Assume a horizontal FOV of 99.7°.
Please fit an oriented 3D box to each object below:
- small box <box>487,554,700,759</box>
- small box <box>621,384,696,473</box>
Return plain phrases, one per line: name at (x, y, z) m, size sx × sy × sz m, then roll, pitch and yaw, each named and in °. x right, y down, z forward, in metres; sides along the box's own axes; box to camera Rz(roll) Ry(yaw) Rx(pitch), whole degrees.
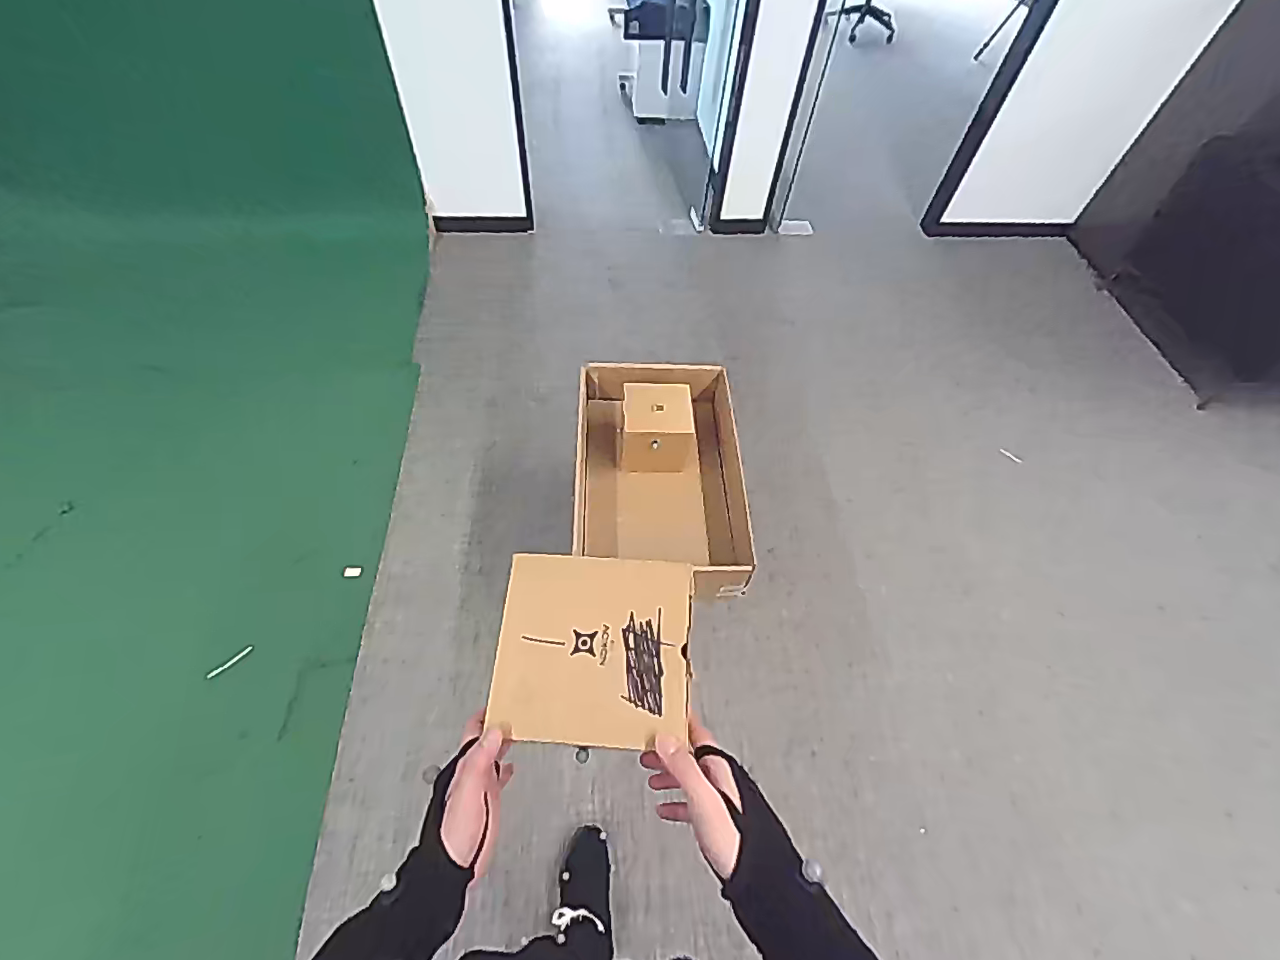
small box at (-0.035, 0.184, 0.556) m, size 0.179 × 0.176 × 0.168 m, roll 3°, pitch 64°, yaw 3°
small box at (0.041, -0.131, 1.414) m, size 0.179 × 0.176 × 0.168 m, roll 0°, pitch 56°, yaw -4°
